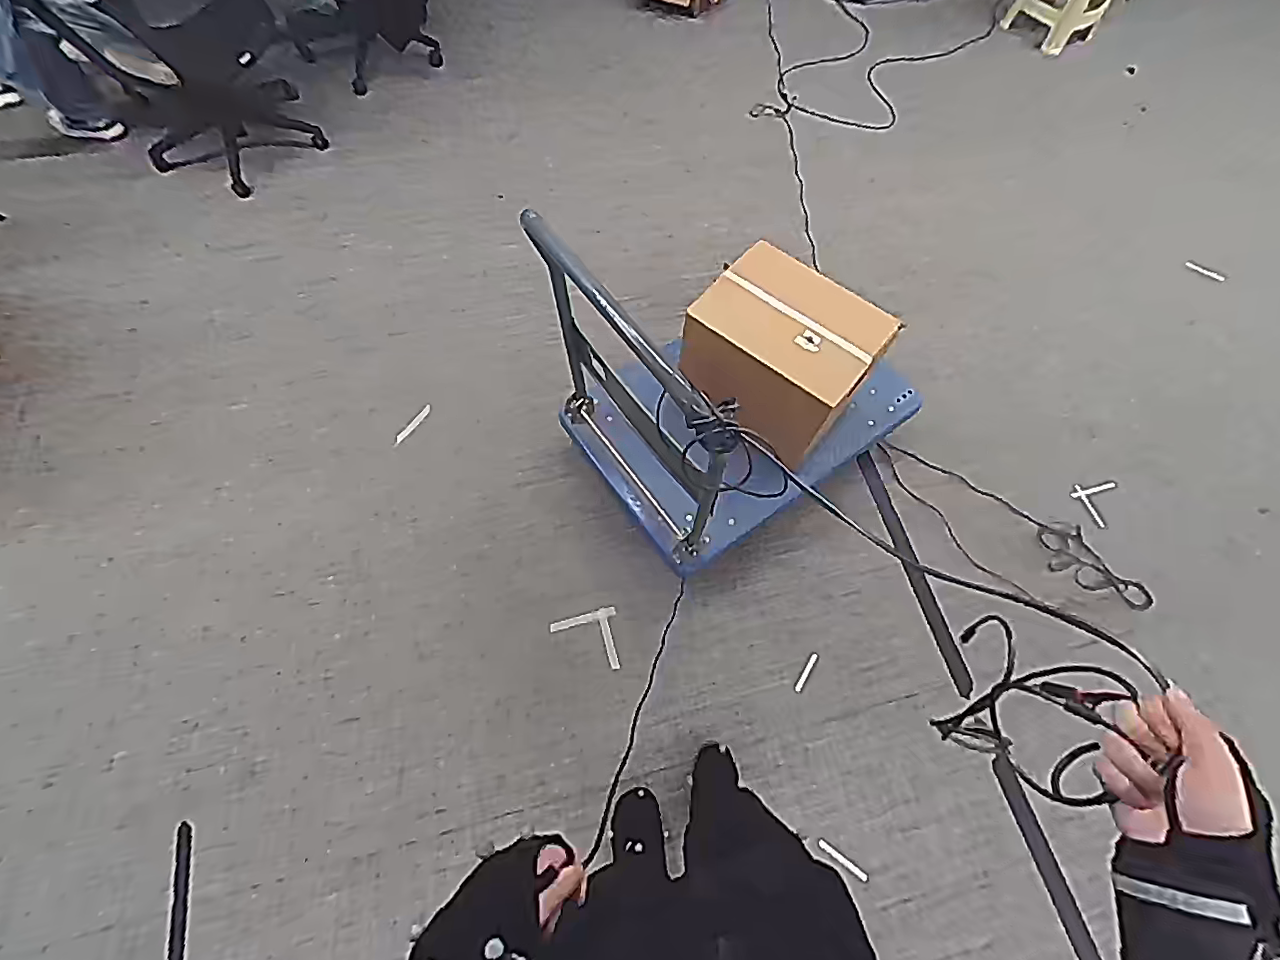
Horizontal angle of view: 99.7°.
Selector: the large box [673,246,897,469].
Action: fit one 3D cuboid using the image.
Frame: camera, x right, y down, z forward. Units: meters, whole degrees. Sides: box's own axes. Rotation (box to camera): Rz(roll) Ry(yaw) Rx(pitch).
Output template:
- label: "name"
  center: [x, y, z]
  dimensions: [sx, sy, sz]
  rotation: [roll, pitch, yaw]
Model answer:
- label: "large box"
  center: [0.341, -0.304, 1.379]
  dimensions: [0.408, 0.320, 0.320]
  rotation: [38, 70, 14]
